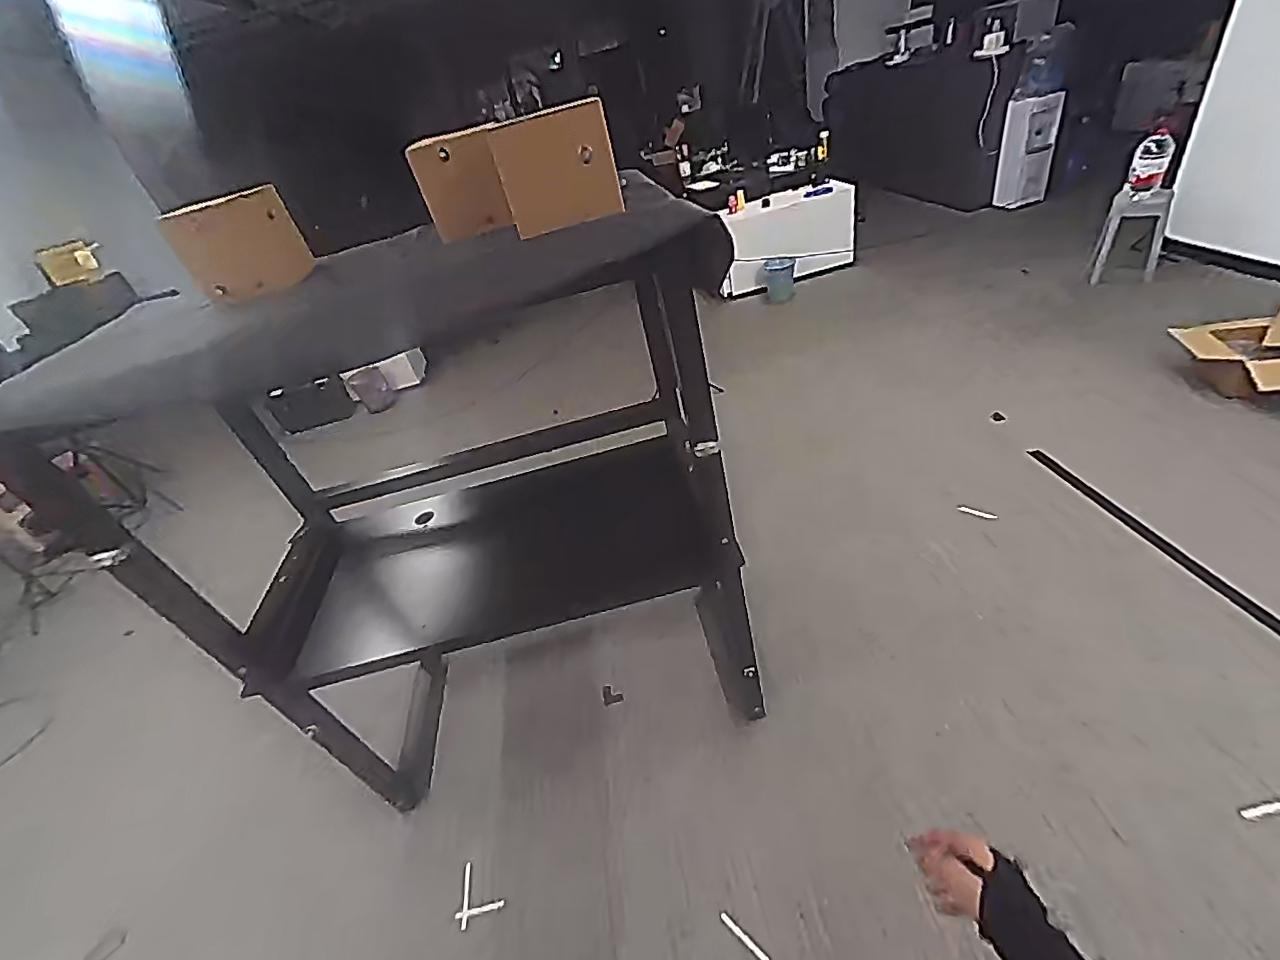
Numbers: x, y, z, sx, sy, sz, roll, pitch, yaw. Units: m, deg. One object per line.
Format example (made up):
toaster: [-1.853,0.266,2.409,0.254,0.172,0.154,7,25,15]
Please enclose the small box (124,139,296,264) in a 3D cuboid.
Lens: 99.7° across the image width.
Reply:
small box: [-0.803,-0.531,1.036,0.168,0.176,0.179,-17,37,-3]
